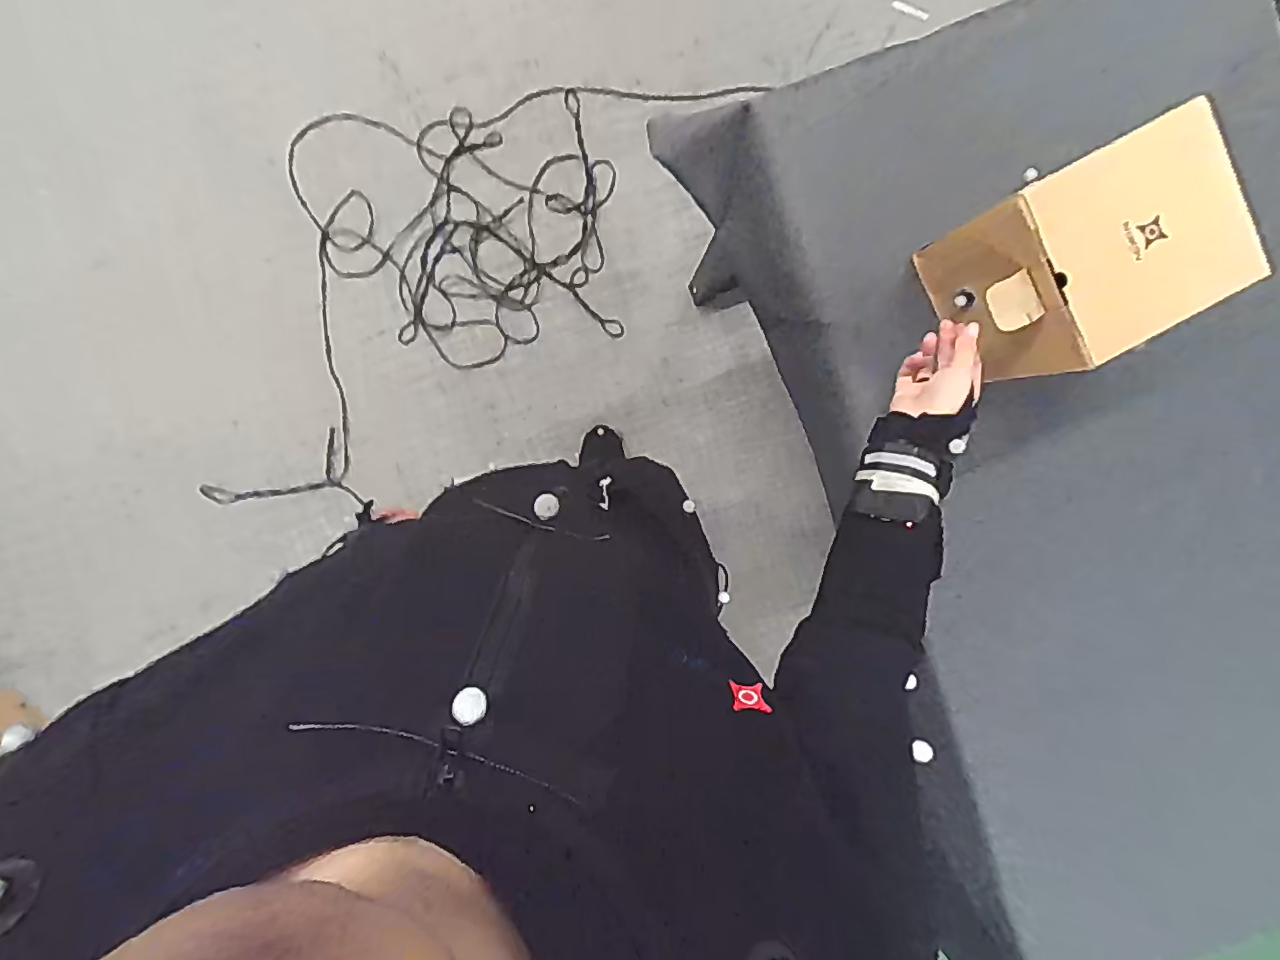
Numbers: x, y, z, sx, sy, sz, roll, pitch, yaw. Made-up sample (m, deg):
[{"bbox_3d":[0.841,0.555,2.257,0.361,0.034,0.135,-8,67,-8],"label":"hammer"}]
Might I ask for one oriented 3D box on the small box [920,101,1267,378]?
[{"bbox_3d":[0.426,-0.215,0.537,0.179,0.176,0.168,-29,97,1],"label":"small box"}]
